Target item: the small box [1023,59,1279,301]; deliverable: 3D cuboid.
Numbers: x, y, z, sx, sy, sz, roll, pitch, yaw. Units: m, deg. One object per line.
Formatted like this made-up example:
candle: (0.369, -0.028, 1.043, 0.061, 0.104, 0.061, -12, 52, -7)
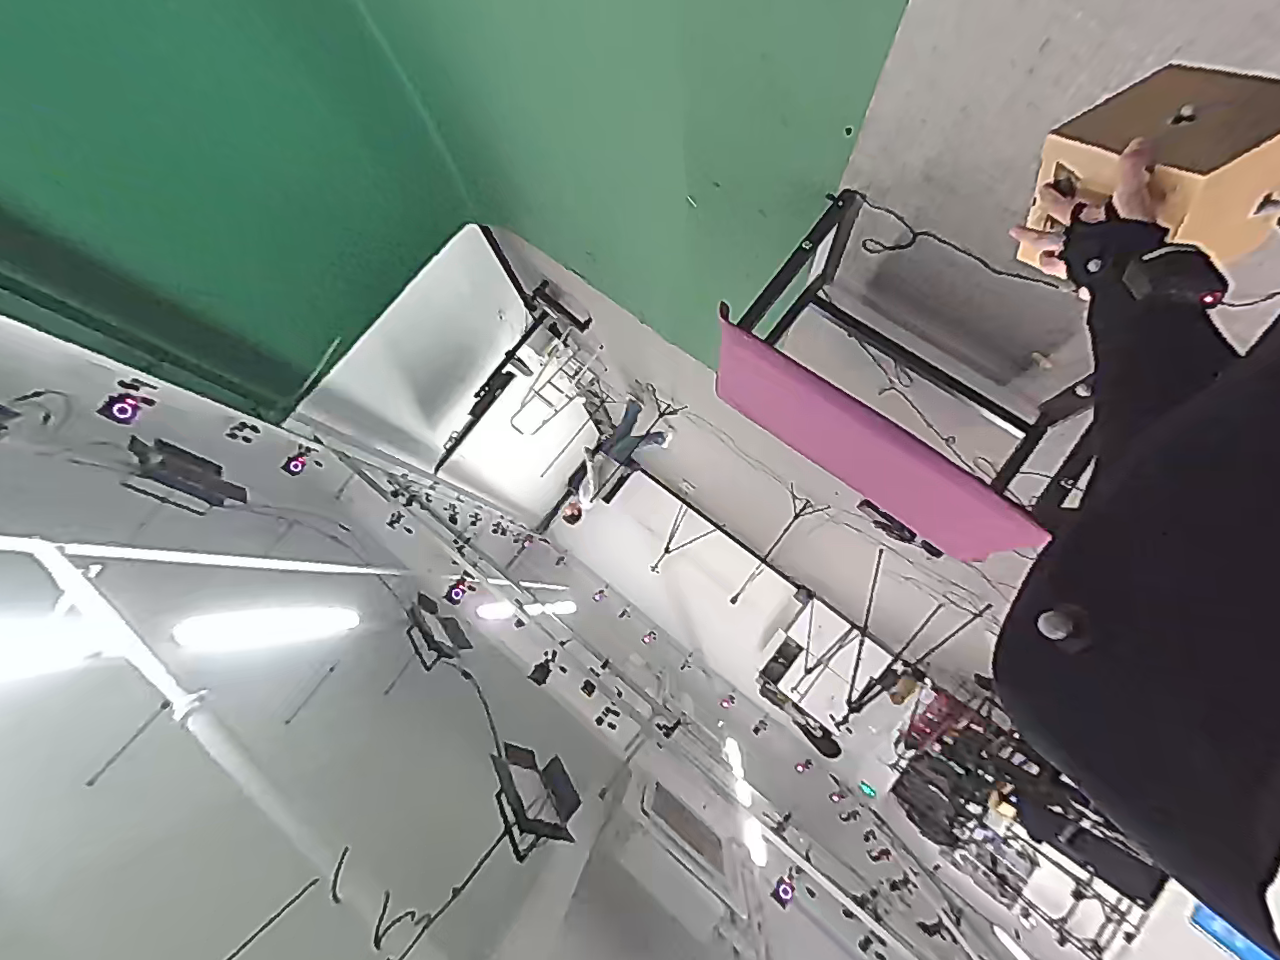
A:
small box: (0.603, -0.349, 0.626, 0.179, 0.176, 0.168, 58, 179, 41)
